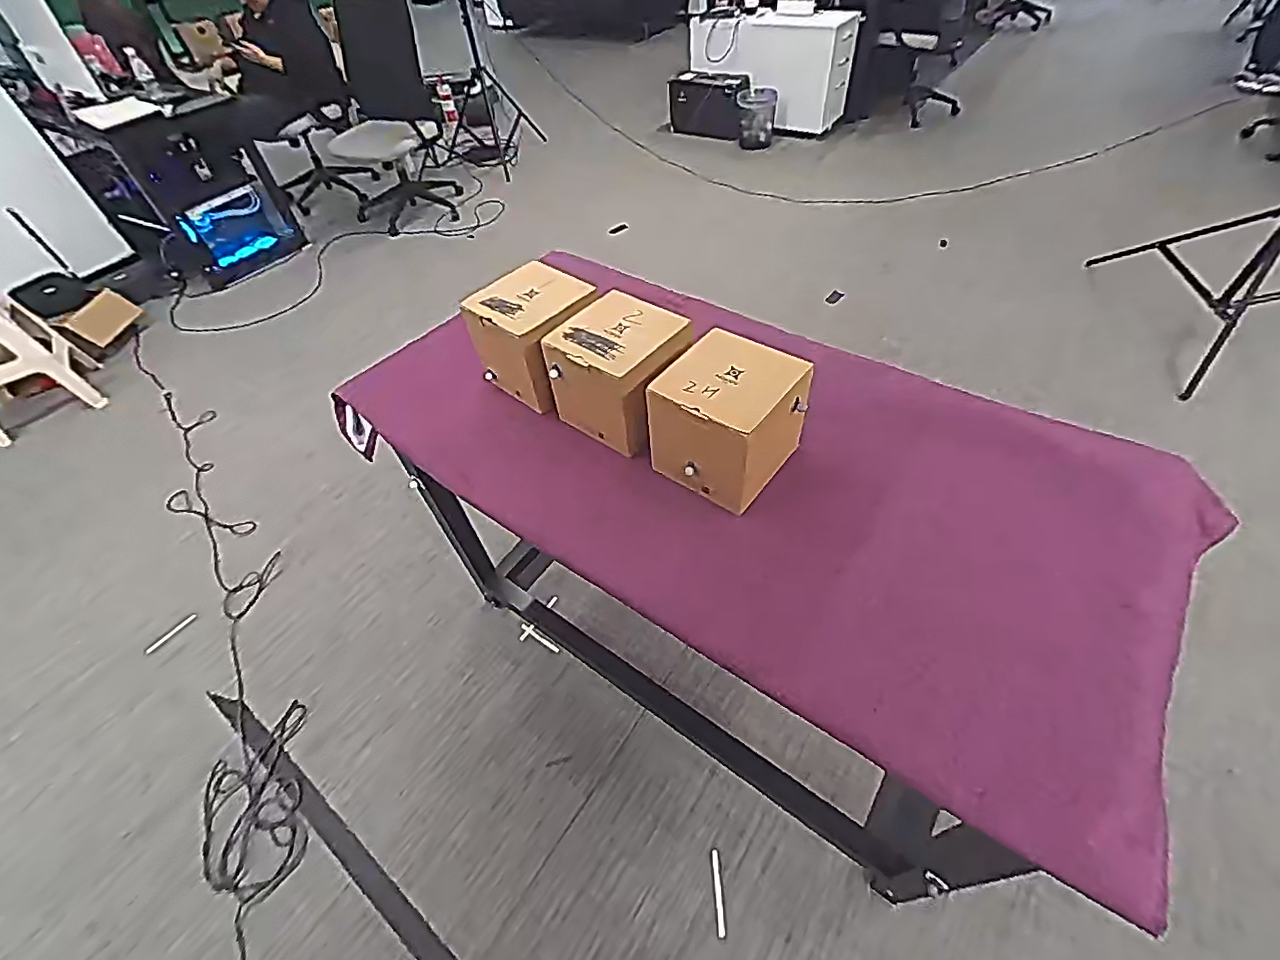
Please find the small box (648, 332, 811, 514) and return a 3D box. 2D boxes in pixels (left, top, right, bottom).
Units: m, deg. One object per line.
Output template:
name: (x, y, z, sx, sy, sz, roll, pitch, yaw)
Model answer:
small box: (0.129, -0.085, 0.807, 0.168, 0.176, 0.179, 29, 57, 28)
